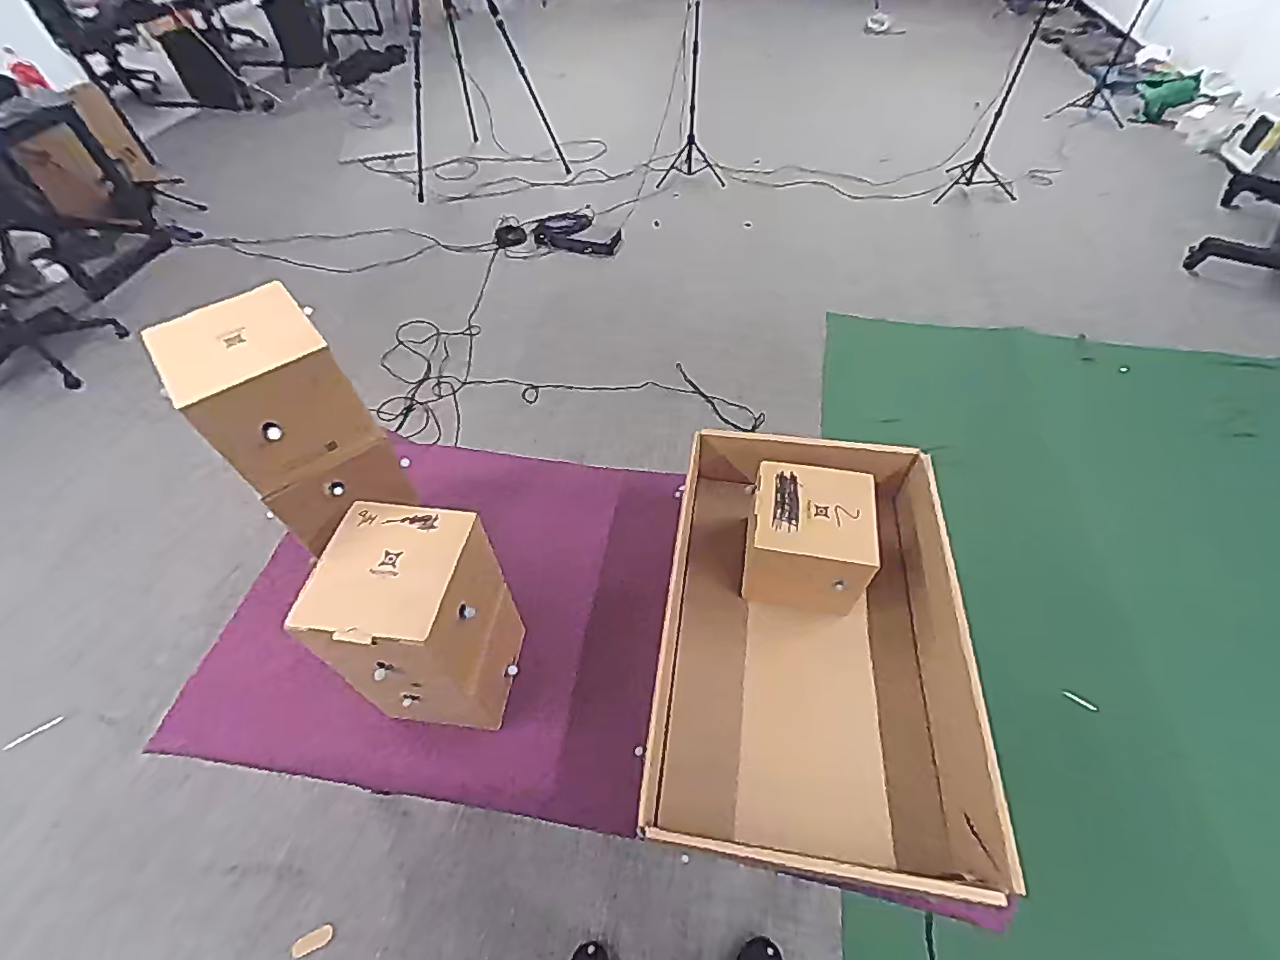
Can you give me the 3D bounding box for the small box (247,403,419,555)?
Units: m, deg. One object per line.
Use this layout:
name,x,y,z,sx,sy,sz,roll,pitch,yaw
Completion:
small box,-0.474,-0.016,0.829,0.179,0.176,0.168,-32,60,-23

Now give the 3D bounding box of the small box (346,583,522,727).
small box,-0.293,0.259,0.815,0.179,0.176,0.168,5,51,4

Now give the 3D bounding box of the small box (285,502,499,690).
small box,-0.294,0.152,0.692,0.168,0.176,0.179,6,52,5

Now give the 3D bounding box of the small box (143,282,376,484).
small box,-0.479,-0.117,0.703,0.168,0.176,0.179,-34,60,-23
